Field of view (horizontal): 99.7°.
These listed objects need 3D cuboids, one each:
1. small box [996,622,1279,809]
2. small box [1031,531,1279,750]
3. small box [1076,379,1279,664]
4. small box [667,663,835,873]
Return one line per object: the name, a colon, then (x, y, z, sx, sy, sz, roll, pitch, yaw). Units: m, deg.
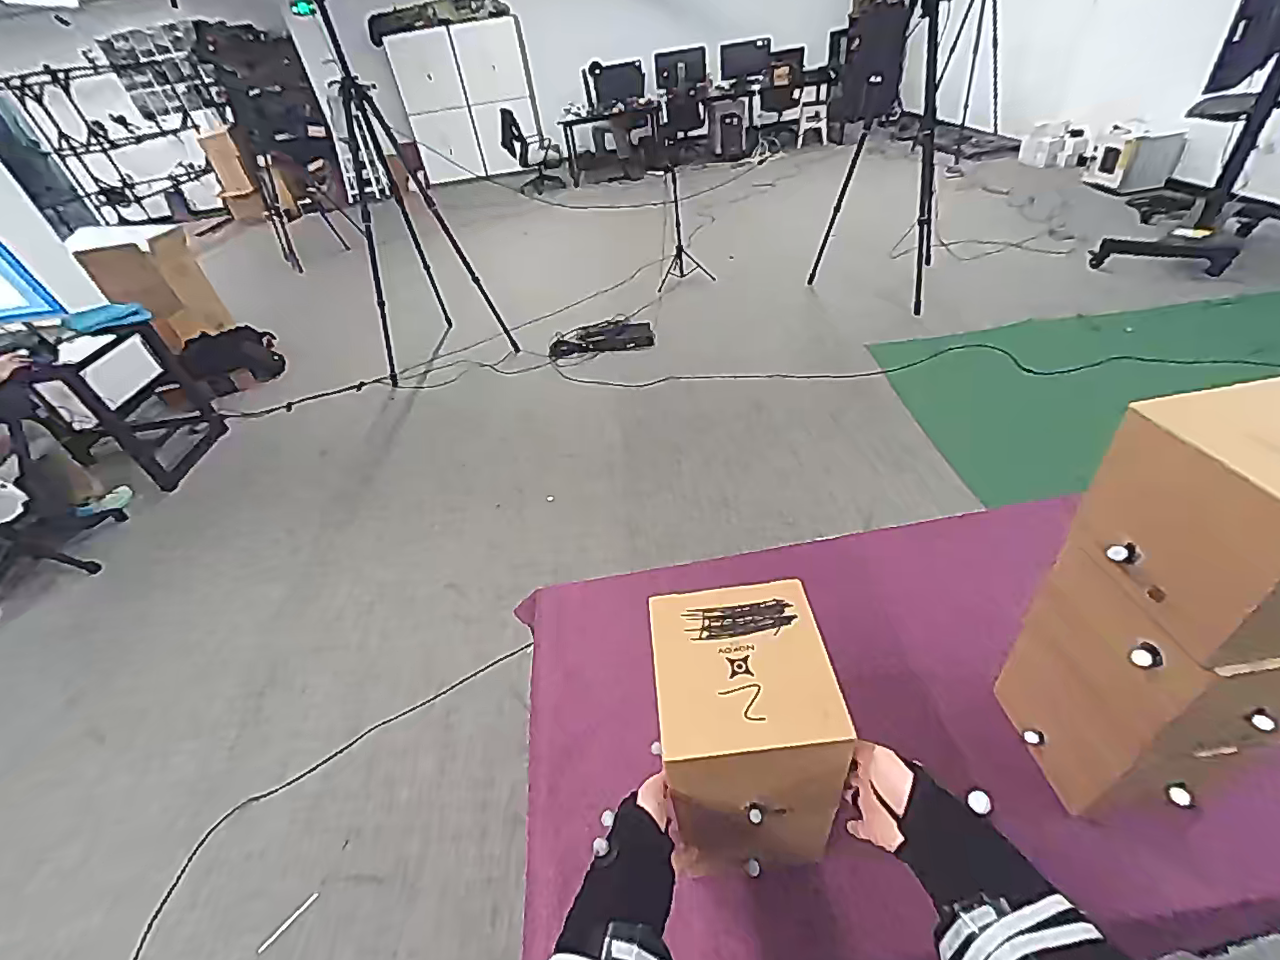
small box: (0.588, 0.284, 0.669, 0.168, 0.176, 0.179, -9, 40, 1)
small box: (0.562, 0.159, 0.563, 0.168, 0.176, 0.179, -9, 39, 1)
small box: (0.536, 0.033, 0.463, 0.179, 0.176, 0.168, -10, 39, 1)
small box: (0.127, 0.358, 0.675, 0.168, 0.176, 0.179, -8, 41, 2)
